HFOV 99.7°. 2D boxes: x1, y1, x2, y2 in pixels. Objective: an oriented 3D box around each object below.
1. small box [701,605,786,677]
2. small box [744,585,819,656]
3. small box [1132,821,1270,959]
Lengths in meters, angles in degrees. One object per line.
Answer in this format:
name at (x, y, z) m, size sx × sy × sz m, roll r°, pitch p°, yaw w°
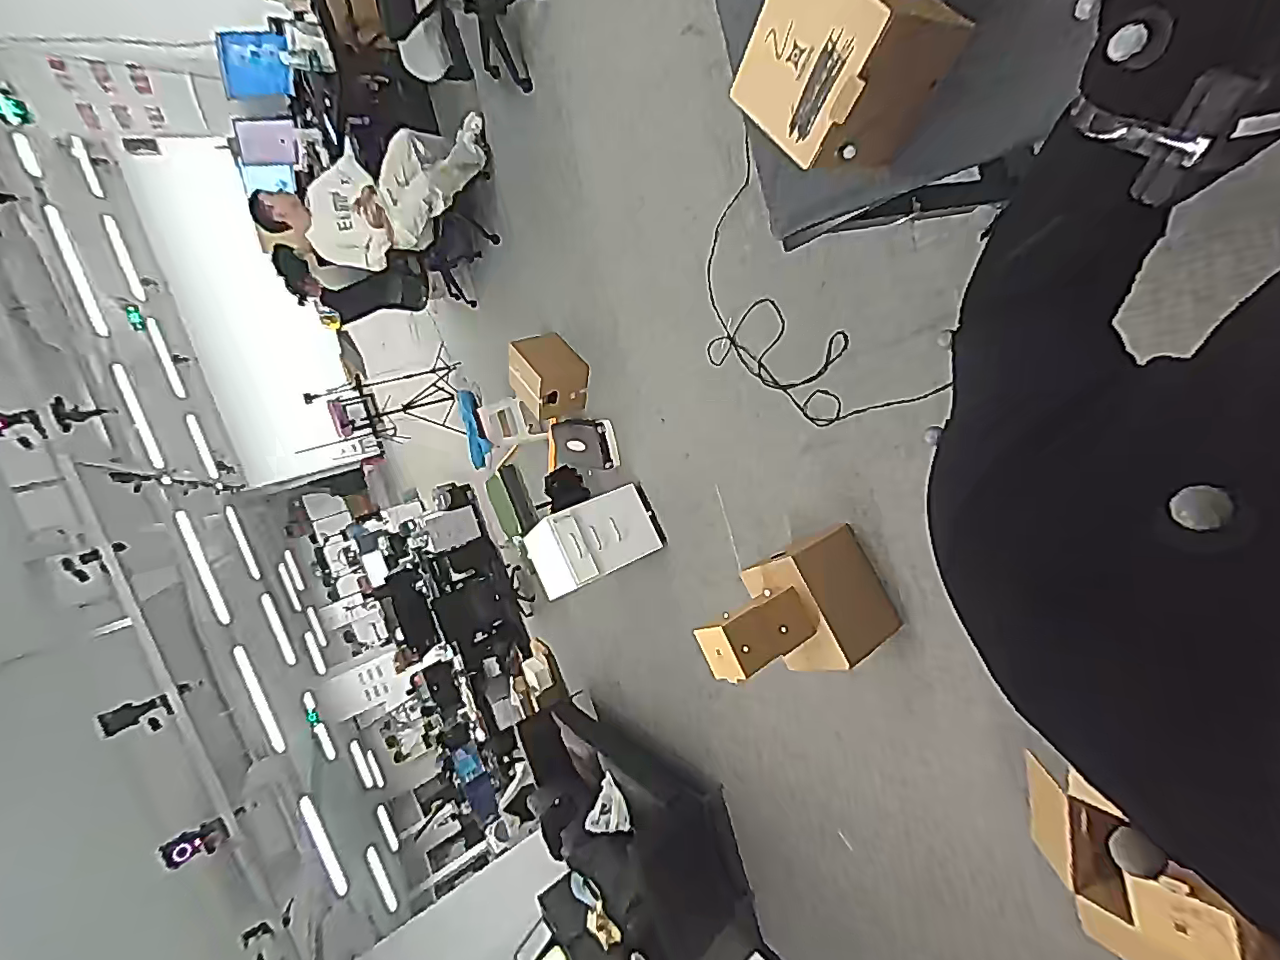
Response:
small box at (0.334, 0.517, 1.748) m, size 0.179 × 0.176 × 0.168 m, roll 64°, pitch 149°, yaw 7°
small box at (0.471, 0.478, 1.828) m, size 0.179 × 0.176 × 0.168 m, roll 65°, pitch 149°, yaw 7°
small box at (1.186, 0.879, 1.141) m, size 0.168 × 0.176 × 0.179 m, roll -6°, pitch 103°, yaw 57°
